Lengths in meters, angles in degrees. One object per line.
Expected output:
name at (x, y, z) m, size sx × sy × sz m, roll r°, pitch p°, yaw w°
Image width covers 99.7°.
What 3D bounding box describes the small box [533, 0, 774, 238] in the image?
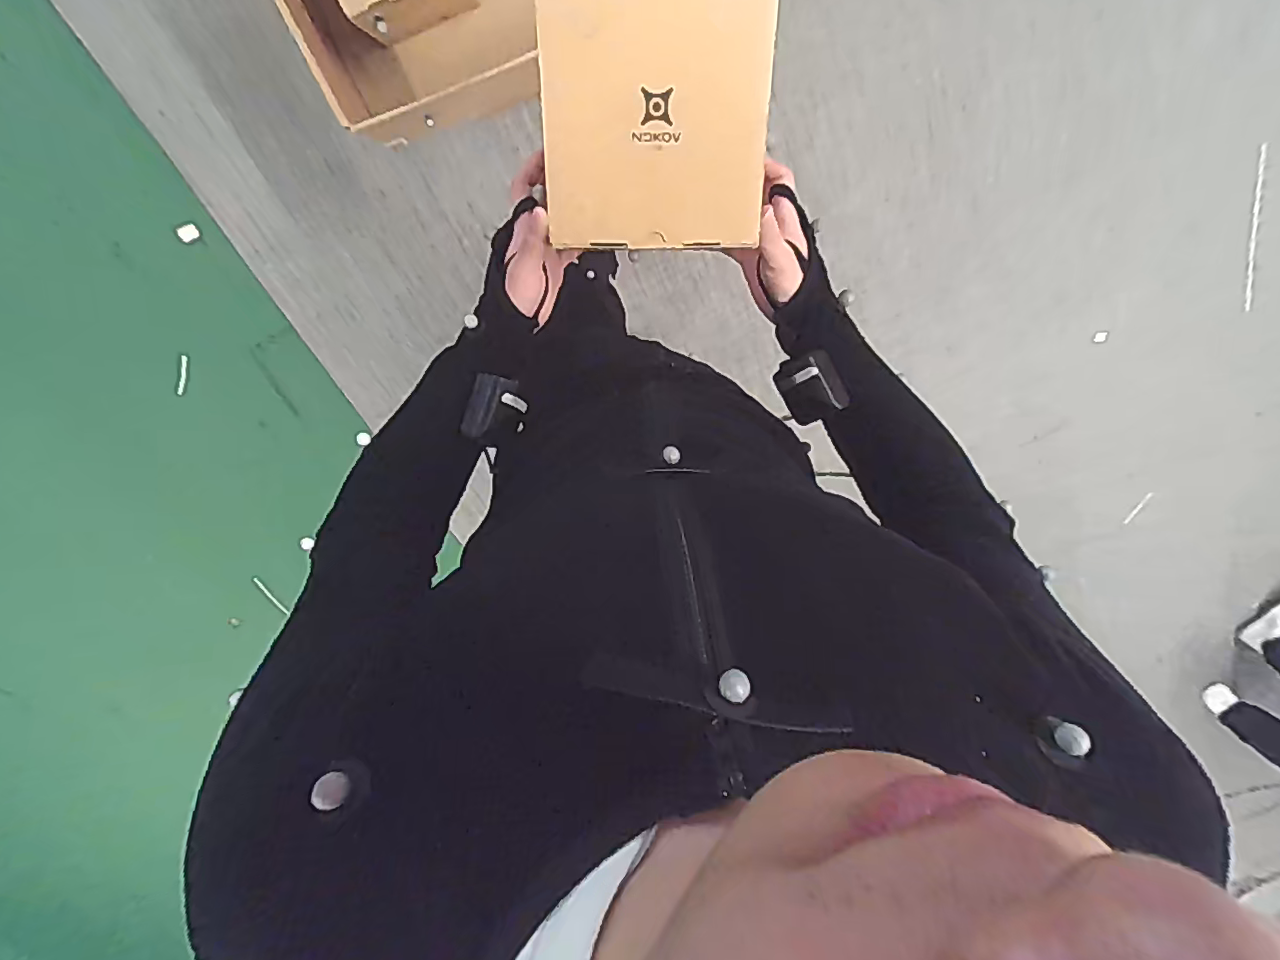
small box at (0.006, -0.302, 0.456) m, size 0.168 × 0.176 × 0.179 m, roll -1°, pitch 115°, yaw -1°
